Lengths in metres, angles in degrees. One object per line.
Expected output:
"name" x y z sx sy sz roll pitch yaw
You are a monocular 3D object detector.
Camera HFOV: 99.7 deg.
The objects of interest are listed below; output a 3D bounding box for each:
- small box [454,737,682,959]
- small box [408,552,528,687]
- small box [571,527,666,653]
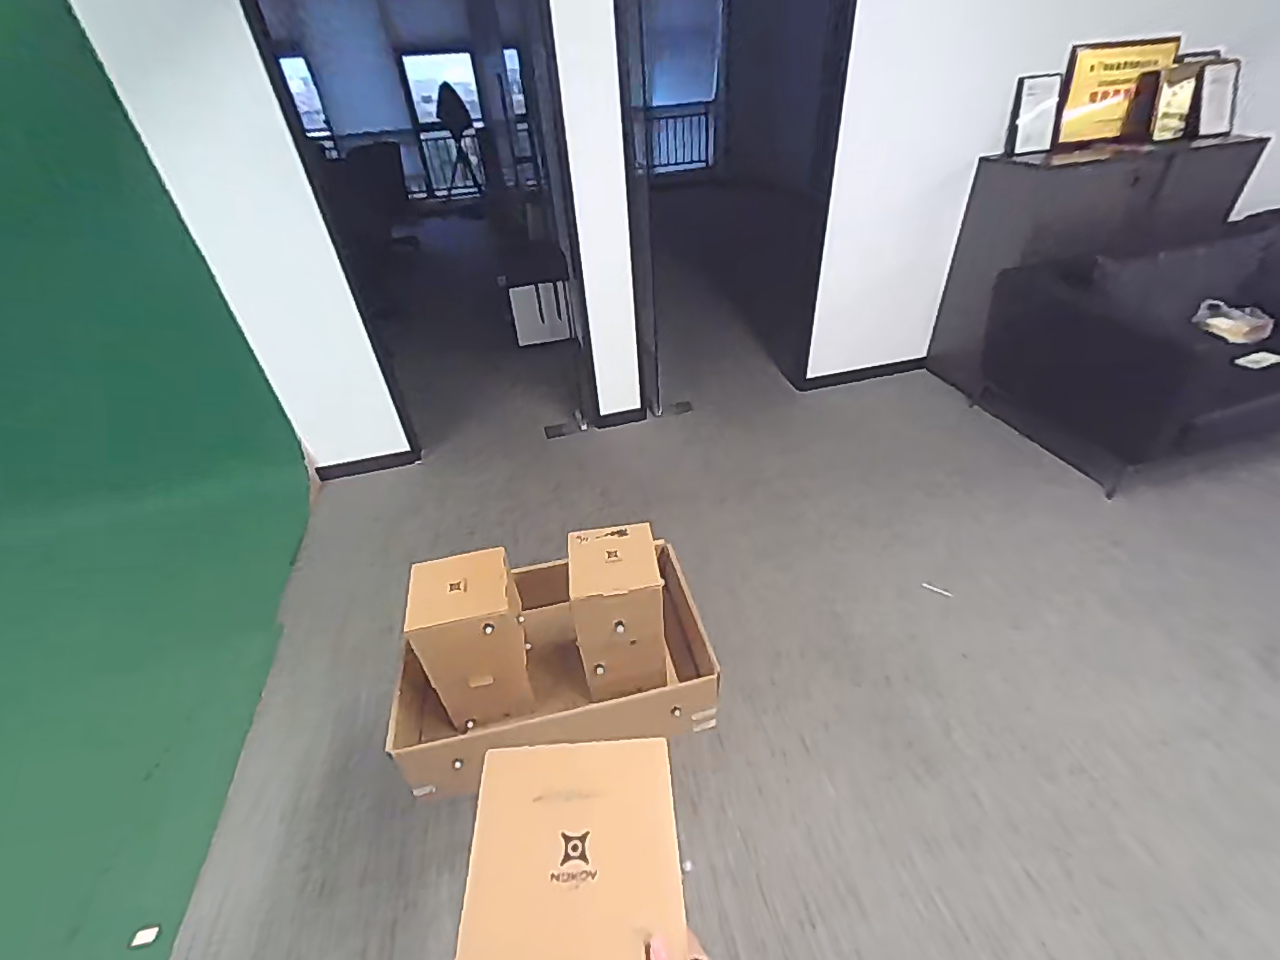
"small box" -0.053 0.357 0.482 0.168 0.176 0.179 -2 39 -3
"small box" -0.320 0.267 1.032 0.179 0.176 0.168 -10 37 -9
"small box" -0.042 0.220 1.060 0.168 0.176 0.179 -7 37 -3
